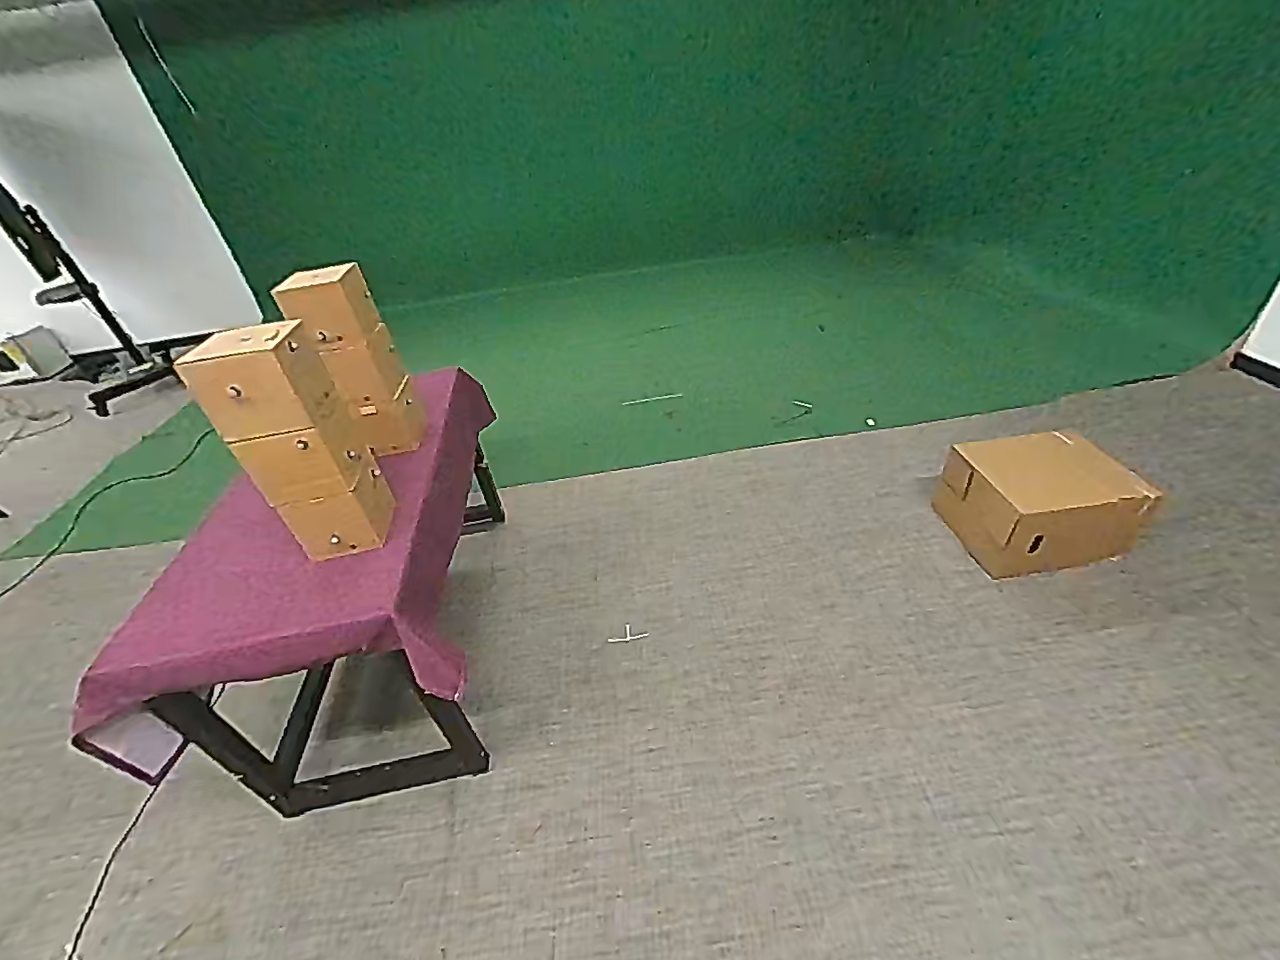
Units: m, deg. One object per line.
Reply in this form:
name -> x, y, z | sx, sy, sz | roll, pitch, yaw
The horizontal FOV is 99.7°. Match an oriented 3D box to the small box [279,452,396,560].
small box -> -0.701, 0.060, 1.281 | 0.168, 0.176, 0.179 | -12, 37, -3

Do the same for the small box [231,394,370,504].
small box -> -0.727, -0.066, 1.181 | 0.179, 0.176, 0.168 | -11, 36, -4

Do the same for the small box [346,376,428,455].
small box -> -0.754, -0.188, 1.620 | 0.168, 0.176, 0.179 | -10, 36, -1

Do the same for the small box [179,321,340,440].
small box -> -0.746, -0.197, 1.083 | 0.179, 0.176, 0.168 | -11, 37, -3

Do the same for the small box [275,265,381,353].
small box -> -0.813, -0.451, 1.433 | 0.168, 0.176, 0.179 | -12, 37, -2
